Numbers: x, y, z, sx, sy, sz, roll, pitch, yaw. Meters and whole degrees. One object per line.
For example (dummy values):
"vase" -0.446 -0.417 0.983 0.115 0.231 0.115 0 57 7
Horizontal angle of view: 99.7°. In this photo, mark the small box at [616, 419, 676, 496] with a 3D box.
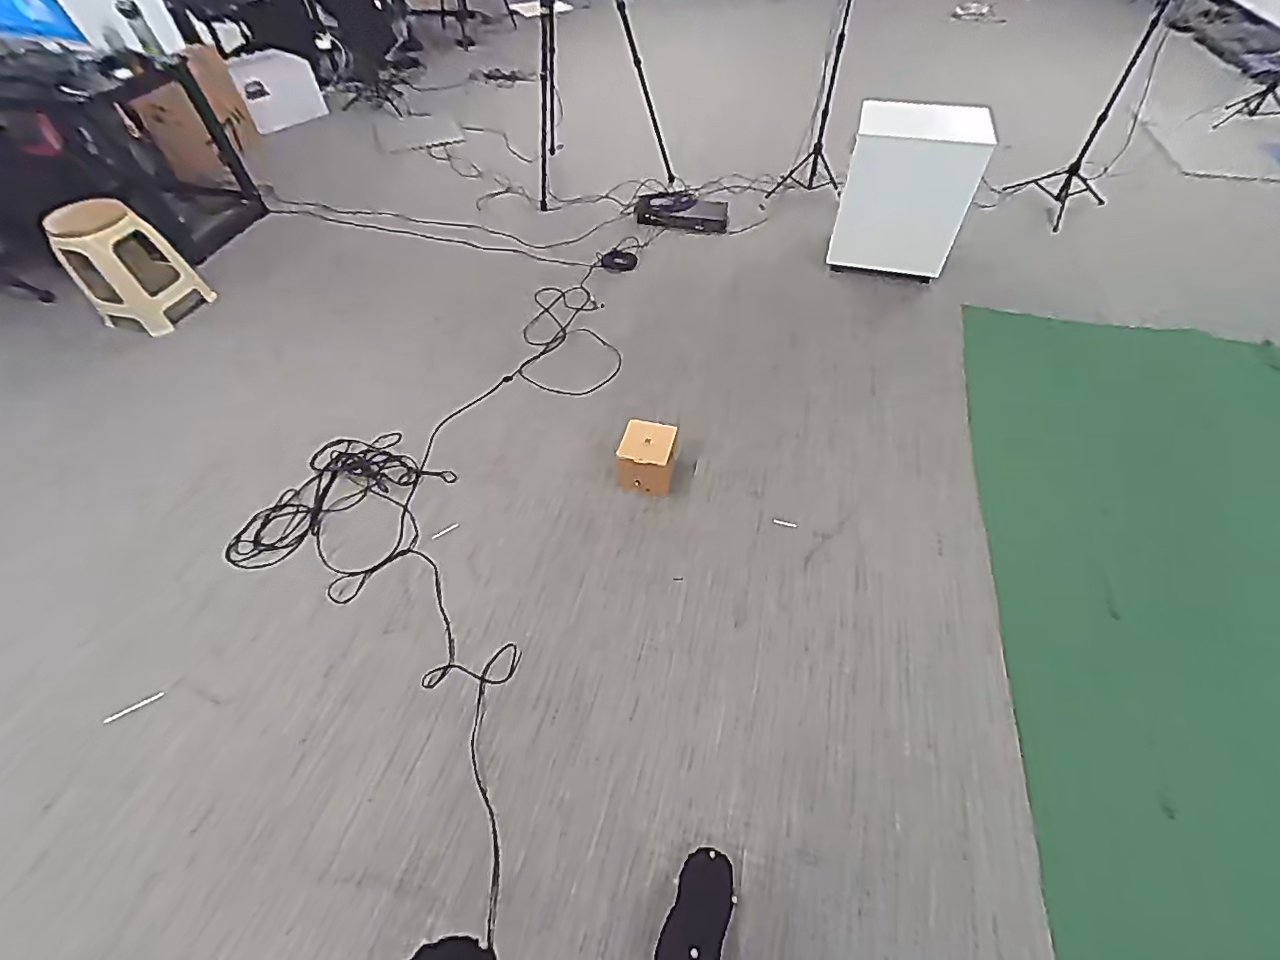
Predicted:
"small box" 0.022 -0.074 1.820 0.168 0.176 0.179 10 53 11
